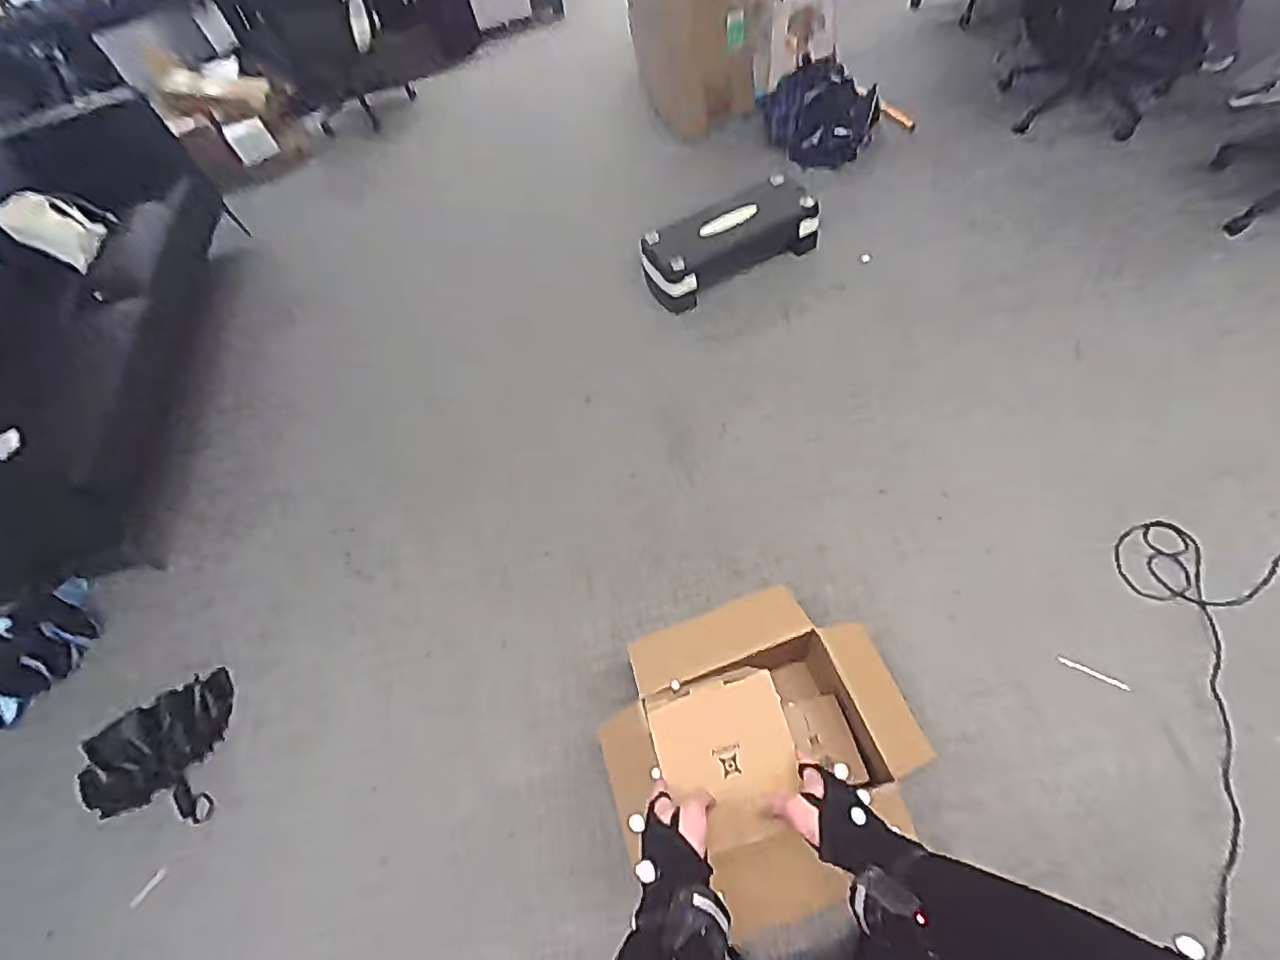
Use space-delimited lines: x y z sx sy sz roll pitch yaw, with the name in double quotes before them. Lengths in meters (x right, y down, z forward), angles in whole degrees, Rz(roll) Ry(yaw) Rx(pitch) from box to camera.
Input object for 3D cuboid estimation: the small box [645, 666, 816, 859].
"small box" 0.107 0.360 0.725 0.168 0.176 0.179 -16 73 -3
